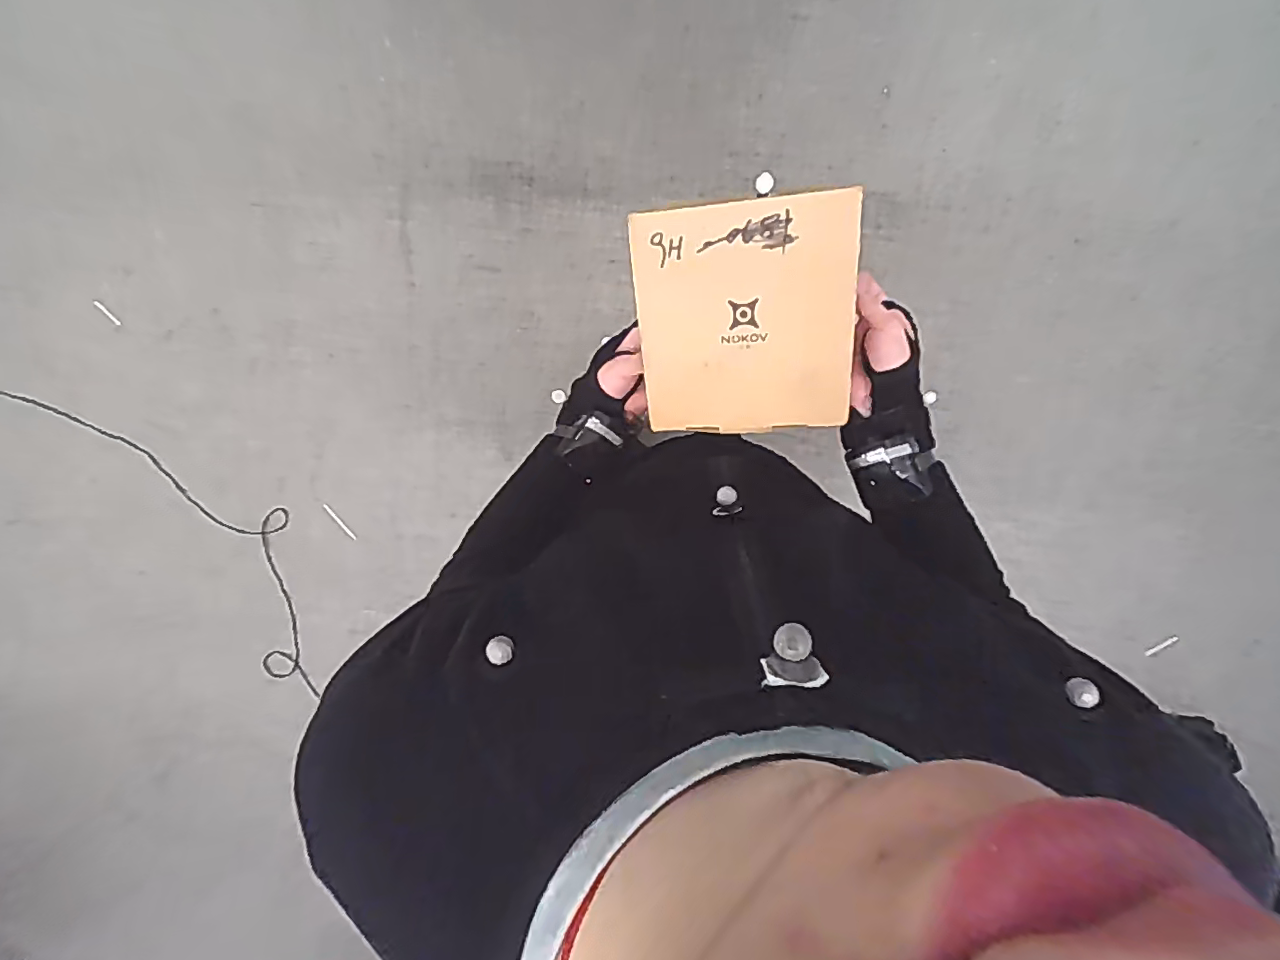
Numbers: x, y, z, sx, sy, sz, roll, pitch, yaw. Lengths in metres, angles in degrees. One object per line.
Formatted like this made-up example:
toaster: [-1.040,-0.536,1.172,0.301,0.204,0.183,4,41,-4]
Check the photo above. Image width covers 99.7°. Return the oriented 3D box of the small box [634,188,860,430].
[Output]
small box: [0.098,-0.161,0.501,0.168,0.176,0.179,-1,120,12]
